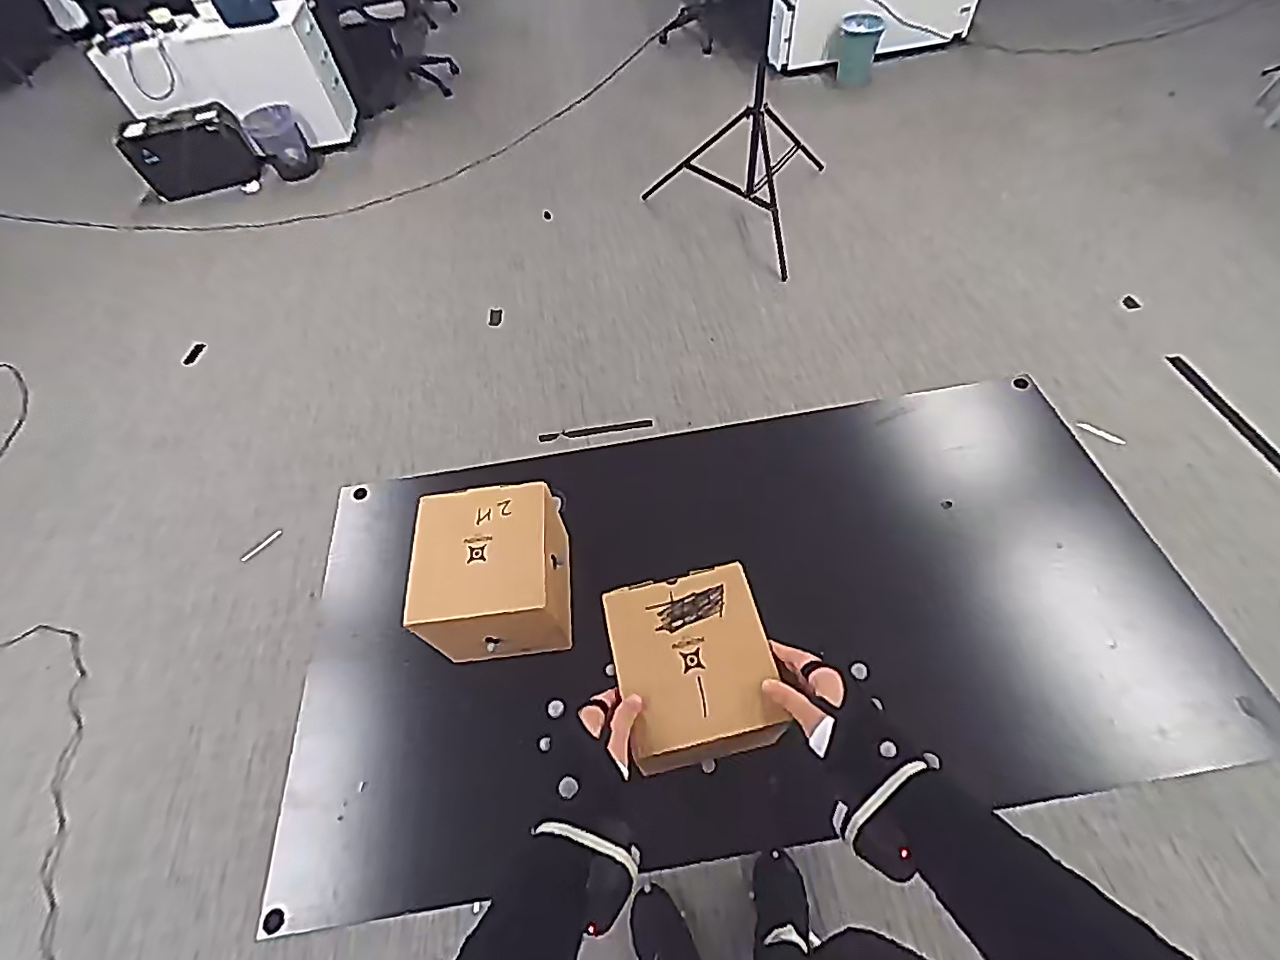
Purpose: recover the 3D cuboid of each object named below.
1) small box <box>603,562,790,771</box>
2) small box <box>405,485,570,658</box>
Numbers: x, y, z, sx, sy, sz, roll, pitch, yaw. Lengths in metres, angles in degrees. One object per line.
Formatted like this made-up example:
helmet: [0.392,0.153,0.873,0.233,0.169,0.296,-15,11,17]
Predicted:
small box: [0.059,0.225,0.642,0.168,0.176,0.179,-13,57,-2]
small box: [-0.191,0.131,0.731,0.168,0.176,0.179,-8,56,0]
